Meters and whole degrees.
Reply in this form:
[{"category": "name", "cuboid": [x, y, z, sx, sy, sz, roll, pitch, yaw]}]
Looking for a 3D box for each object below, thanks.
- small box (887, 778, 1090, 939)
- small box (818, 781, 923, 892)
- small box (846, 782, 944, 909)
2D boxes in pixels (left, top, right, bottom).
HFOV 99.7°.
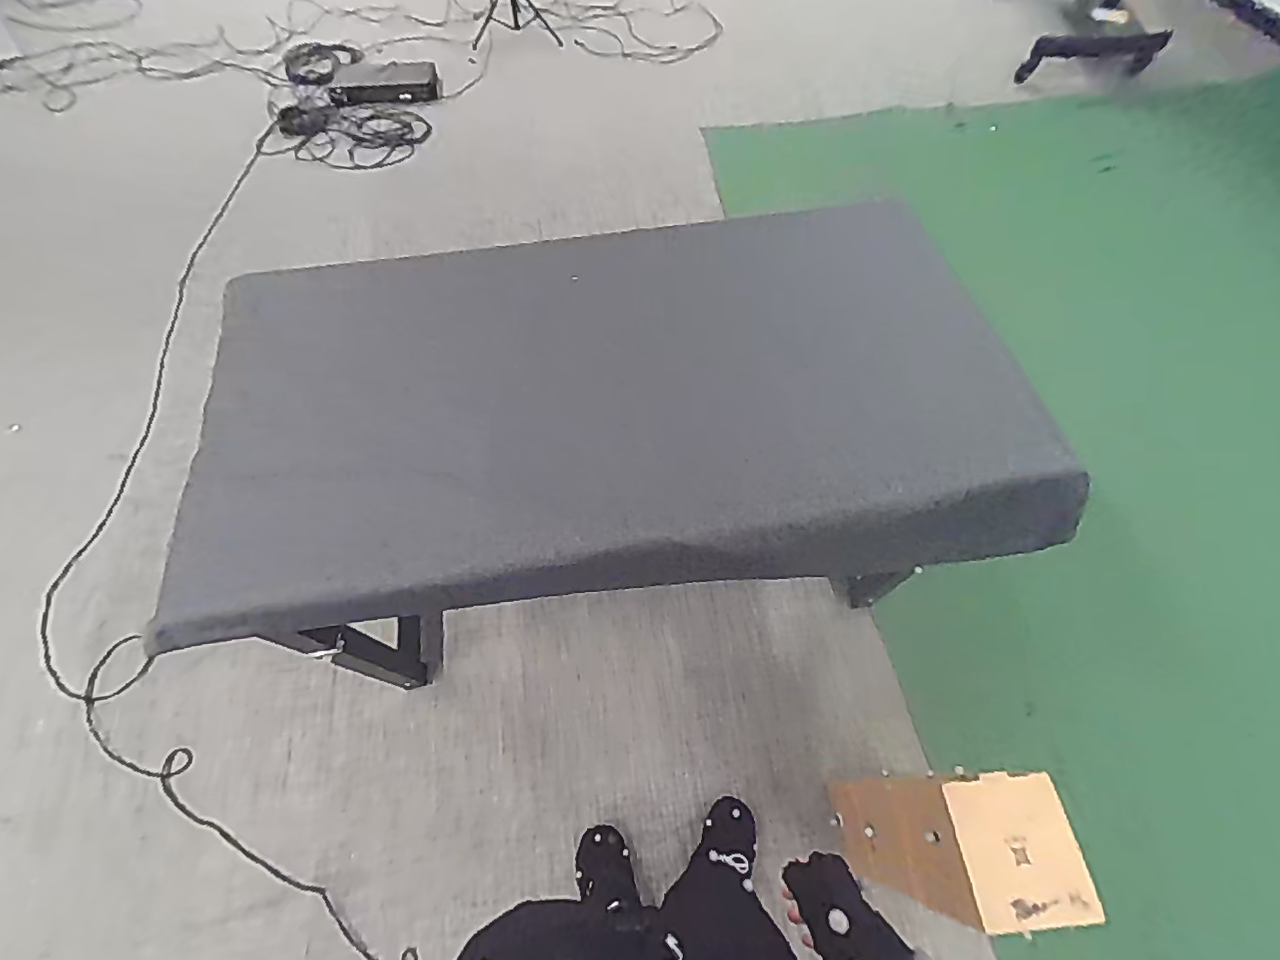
[{"category": "small box", "cuboid": [0.500, 0.557, 0.813, 0.168, 0.176, 0.179, -3, 59, -2]}, {"category": "small box", "cuboid": [0.487, 0.714, 1.100, 0.179, 0.176, 0.168, -6, 60, -3]}, {"category": "small box", "cuboid": [0.493, 0.635, 0.956, 0.179, 0.176, 0.168, -4, 60, -2]}]
